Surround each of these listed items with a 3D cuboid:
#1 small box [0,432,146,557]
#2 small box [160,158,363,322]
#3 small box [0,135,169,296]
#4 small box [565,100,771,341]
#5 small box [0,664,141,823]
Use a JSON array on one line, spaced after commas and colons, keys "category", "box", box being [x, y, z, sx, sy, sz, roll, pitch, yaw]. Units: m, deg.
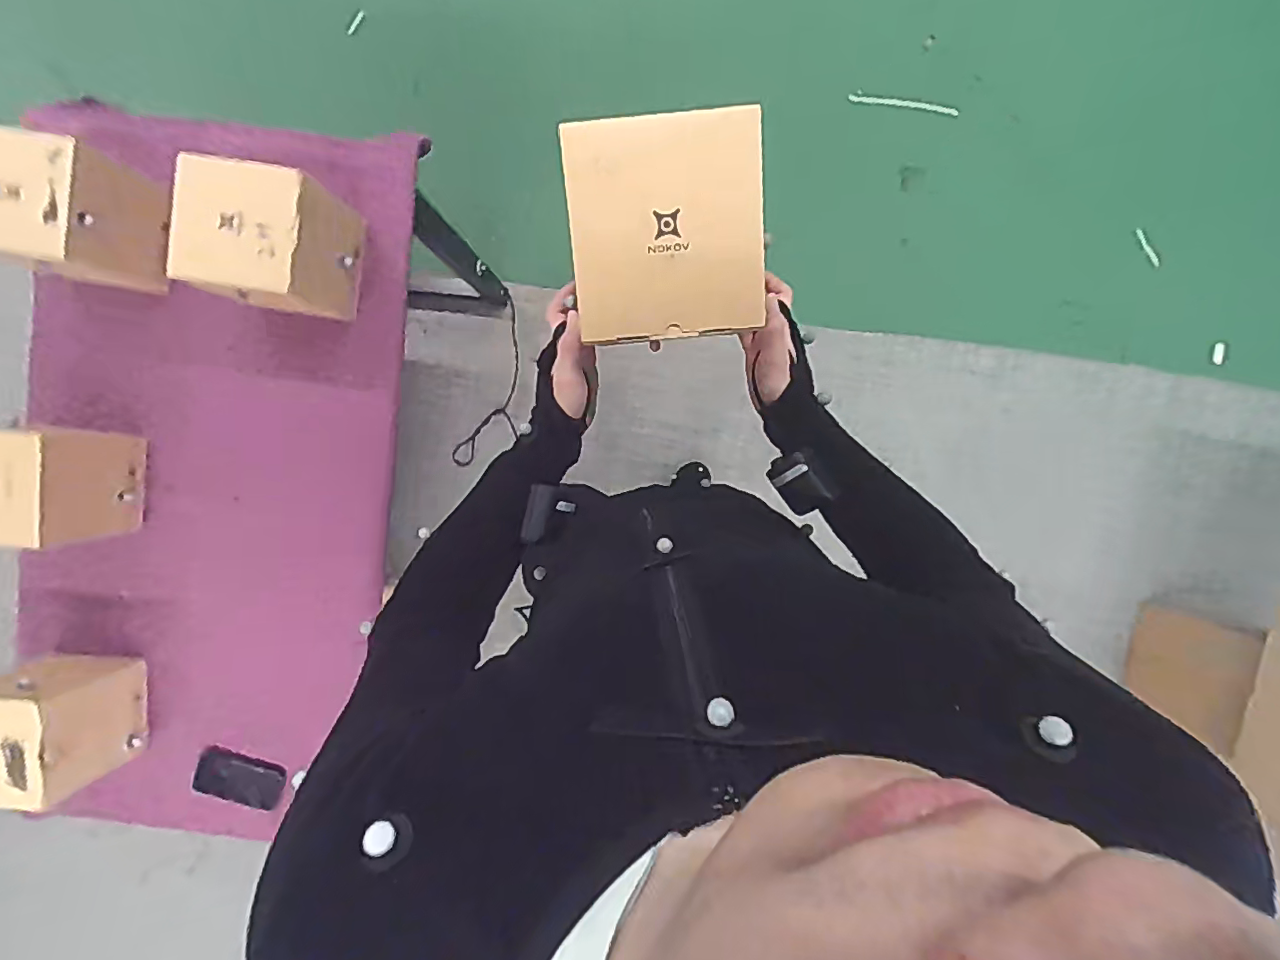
[{"category": "small box", "box": [-0.931, 0.015, 0.838, 0.179, 0.176, 0.168, 6, 94, 1]}, {"category": "small box", "box": [-0.551, -0.343, 0.806, 0.179, 0.176, 0.168, 9, 94, 1]}, {"category": "small box", "box": [-0.865, -0.390, 0.817, 0.179, 0.176, 0.168, 9, 94, 1]}, {"category": "small box", "box": [0.024, -0.230, 0.523, 0.168, 0.176, 0.179, -5, 105, 0]}, {"category": "small box", "box": [-0.944, 0.404, 0.854, 0.179, 0.176, 0.168, 2, 92, 2]}]
